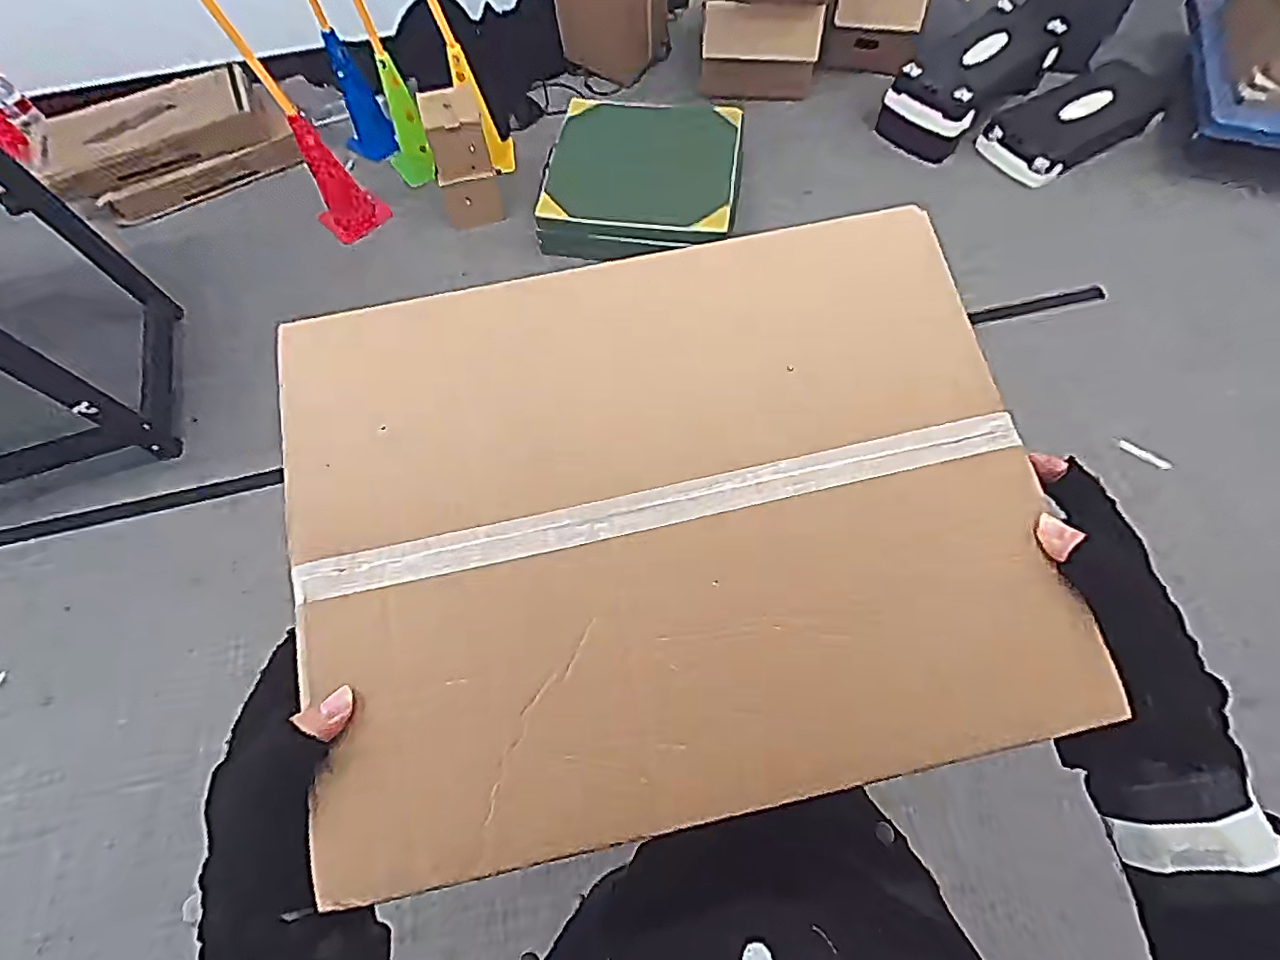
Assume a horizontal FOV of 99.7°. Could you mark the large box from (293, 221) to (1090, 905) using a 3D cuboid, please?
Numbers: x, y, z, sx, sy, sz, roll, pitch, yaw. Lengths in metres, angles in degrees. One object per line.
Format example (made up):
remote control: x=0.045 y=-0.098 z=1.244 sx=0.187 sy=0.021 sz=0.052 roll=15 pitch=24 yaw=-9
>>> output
large box: x=0.015 y=0.053 z=0.452 sx=0.408 sy=0.320 sz=0.320 roll=-13 pitch=76 yaw=-3
